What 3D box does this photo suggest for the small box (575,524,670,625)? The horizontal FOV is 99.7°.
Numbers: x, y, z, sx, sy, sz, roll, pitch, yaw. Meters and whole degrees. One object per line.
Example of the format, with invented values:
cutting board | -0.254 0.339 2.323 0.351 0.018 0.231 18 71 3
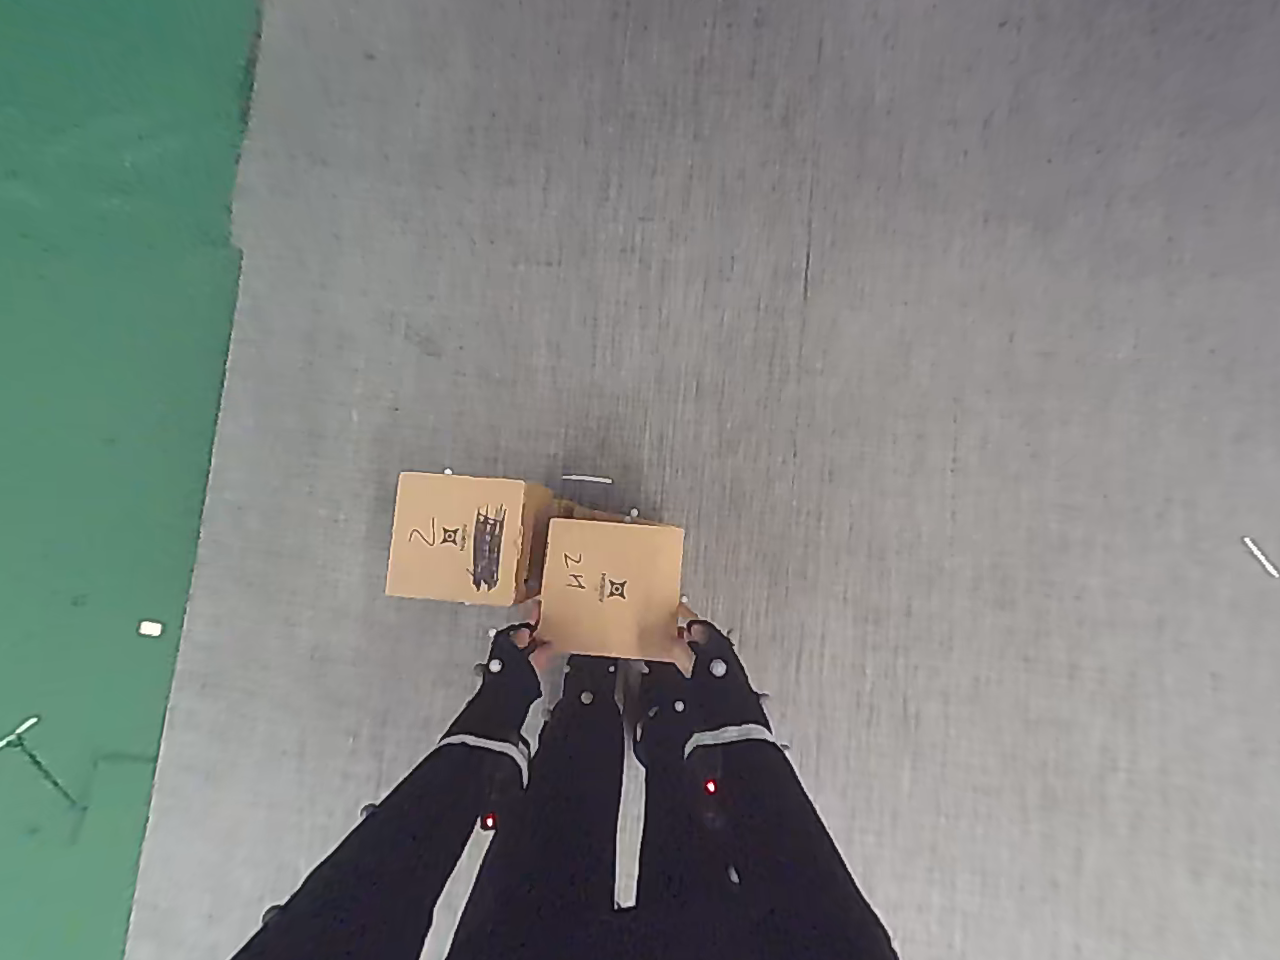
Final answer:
small box | -0.029 0.185 1.098 0.168 0.176 0.179 5 85 4
